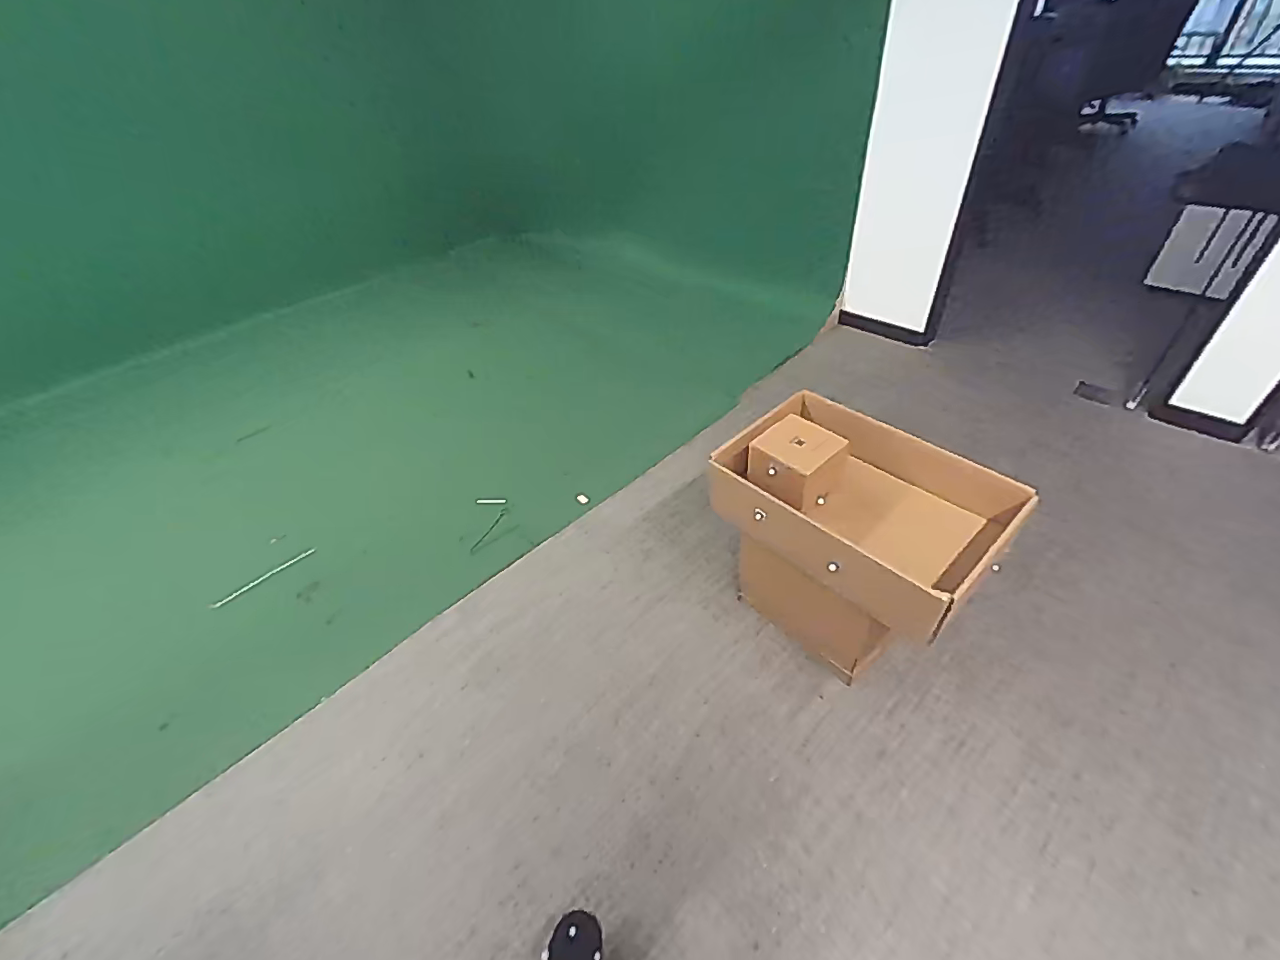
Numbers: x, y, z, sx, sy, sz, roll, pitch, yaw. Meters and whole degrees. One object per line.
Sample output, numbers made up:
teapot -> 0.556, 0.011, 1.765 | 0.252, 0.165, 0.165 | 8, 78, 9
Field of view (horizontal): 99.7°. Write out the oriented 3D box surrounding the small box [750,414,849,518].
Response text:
small box -> 0.392, -0.034, 1.360 | 0.168, 0.176, 0.179 | -34, 48, -25
